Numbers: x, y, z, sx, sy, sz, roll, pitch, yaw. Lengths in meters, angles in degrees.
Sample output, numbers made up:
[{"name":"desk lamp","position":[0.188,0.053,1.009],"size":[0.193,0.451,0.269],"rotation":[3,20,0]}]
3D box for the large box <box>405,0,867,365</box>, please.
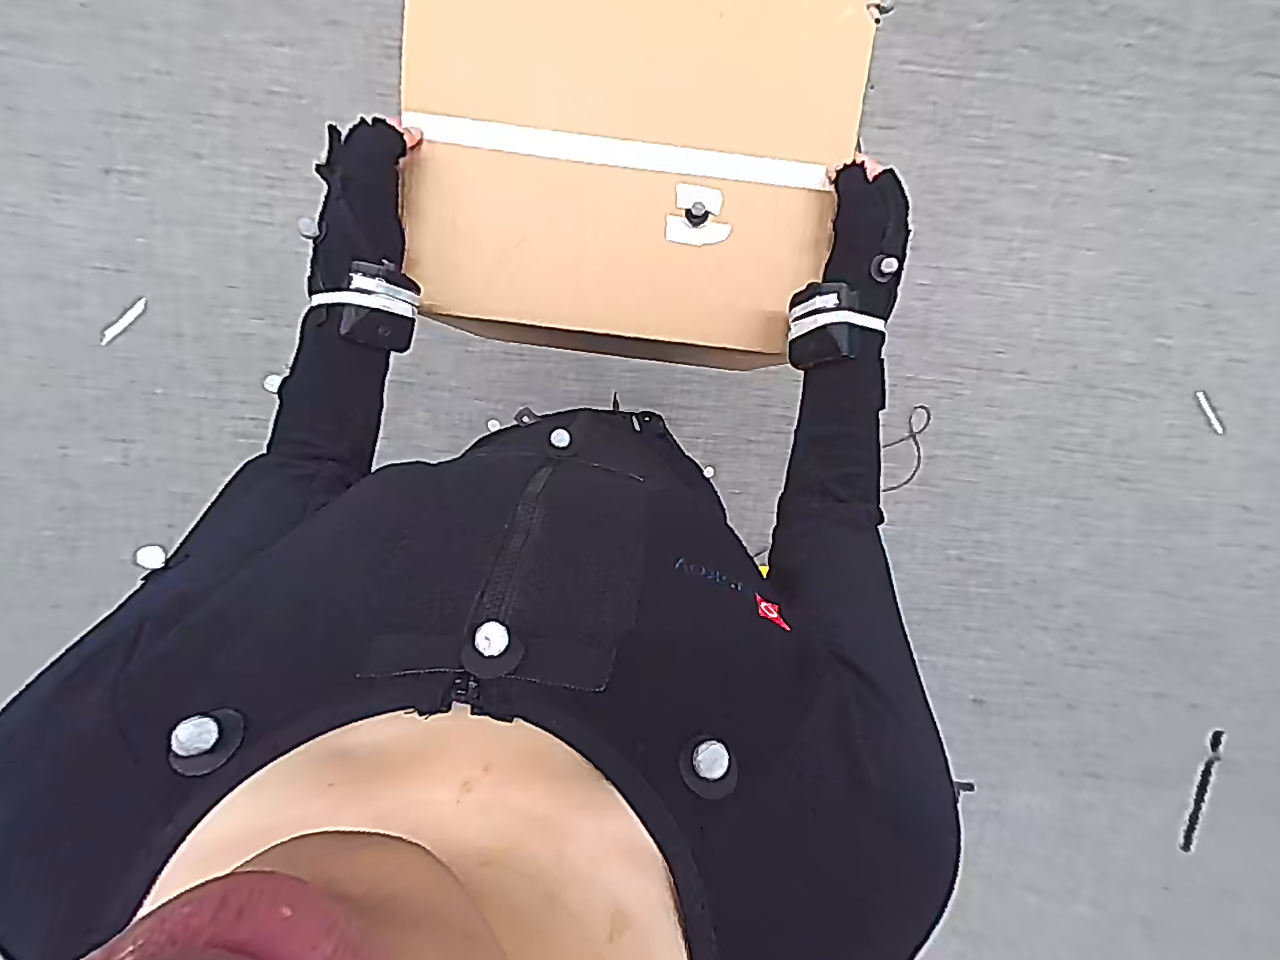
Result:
[{"name":"large box","position":[-0.015,-0.318,0.638],"size":[0.408,0.320,0.320],"rotation":[6,99,-3]}]
